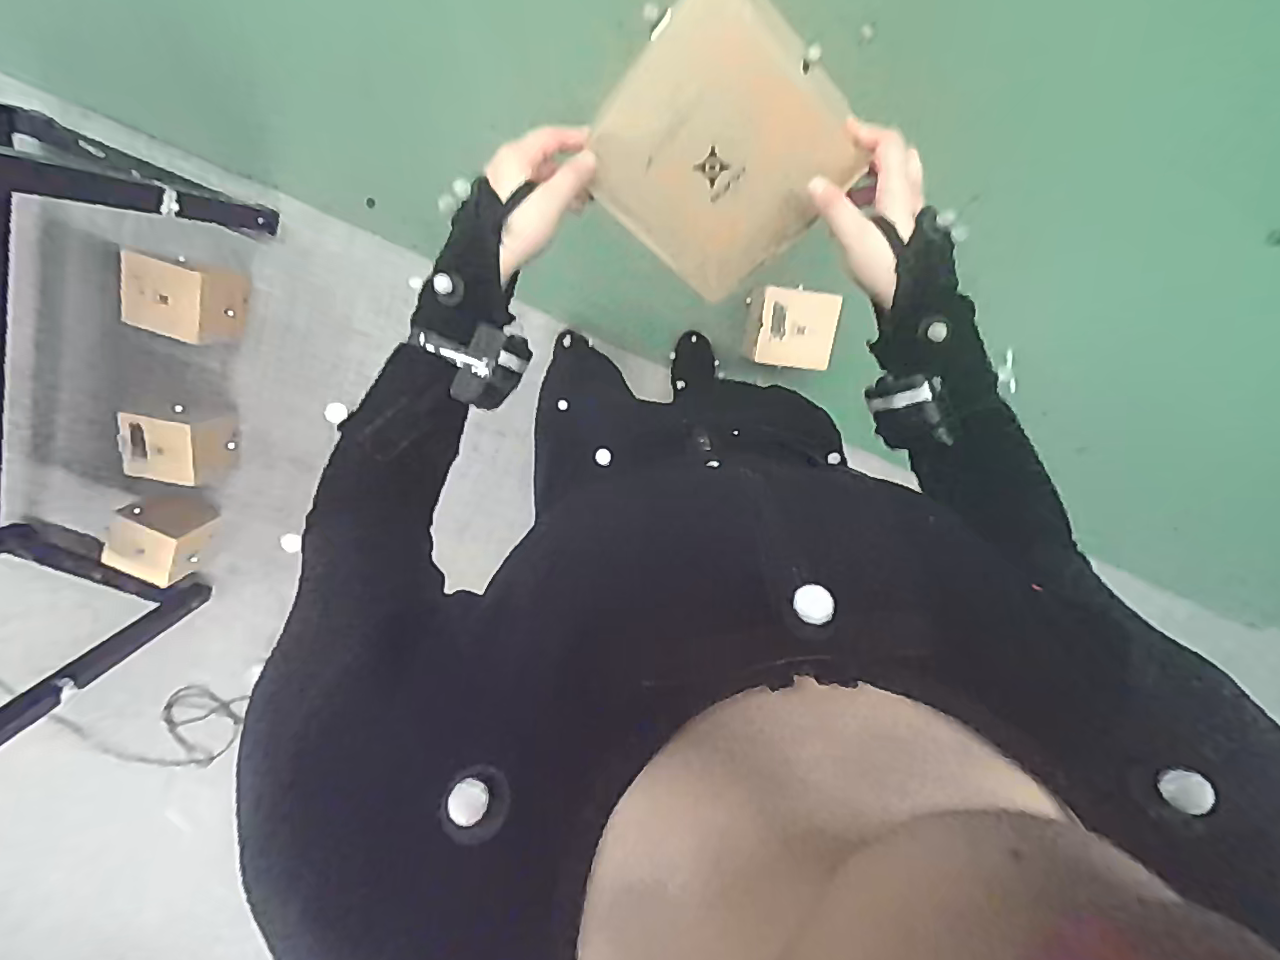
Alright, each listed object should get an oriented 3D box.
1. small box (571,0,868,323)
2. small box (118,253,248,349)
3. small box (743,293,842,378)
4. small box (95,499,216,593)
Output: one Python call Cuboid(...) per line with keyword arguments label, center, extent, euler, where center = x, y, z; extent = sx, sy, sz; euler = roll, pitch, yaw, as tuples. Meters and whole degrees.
Cuboid(label="small box", center=(0.069, -0.284, 0.476), extent=(0.179, 0.176, 0.168), euler=(34, 133, -25))
Cuboid(label="small box", center=(-1.078, -0.424, 1.286), extent=(0.179, 0.176, 0.168), euler=(18, 107, -5))
Cuboid(label="small box", center=(0.353, -0.347, 1.292), extent=(0.179, 0.176, 0.168), euler=(7, 108, -2))
Cuboid(label="small box", center=(-1.328, 0.174, 1.493), extent=(0.179, 0.176, 0.168), euler=(26, 107, -7))
